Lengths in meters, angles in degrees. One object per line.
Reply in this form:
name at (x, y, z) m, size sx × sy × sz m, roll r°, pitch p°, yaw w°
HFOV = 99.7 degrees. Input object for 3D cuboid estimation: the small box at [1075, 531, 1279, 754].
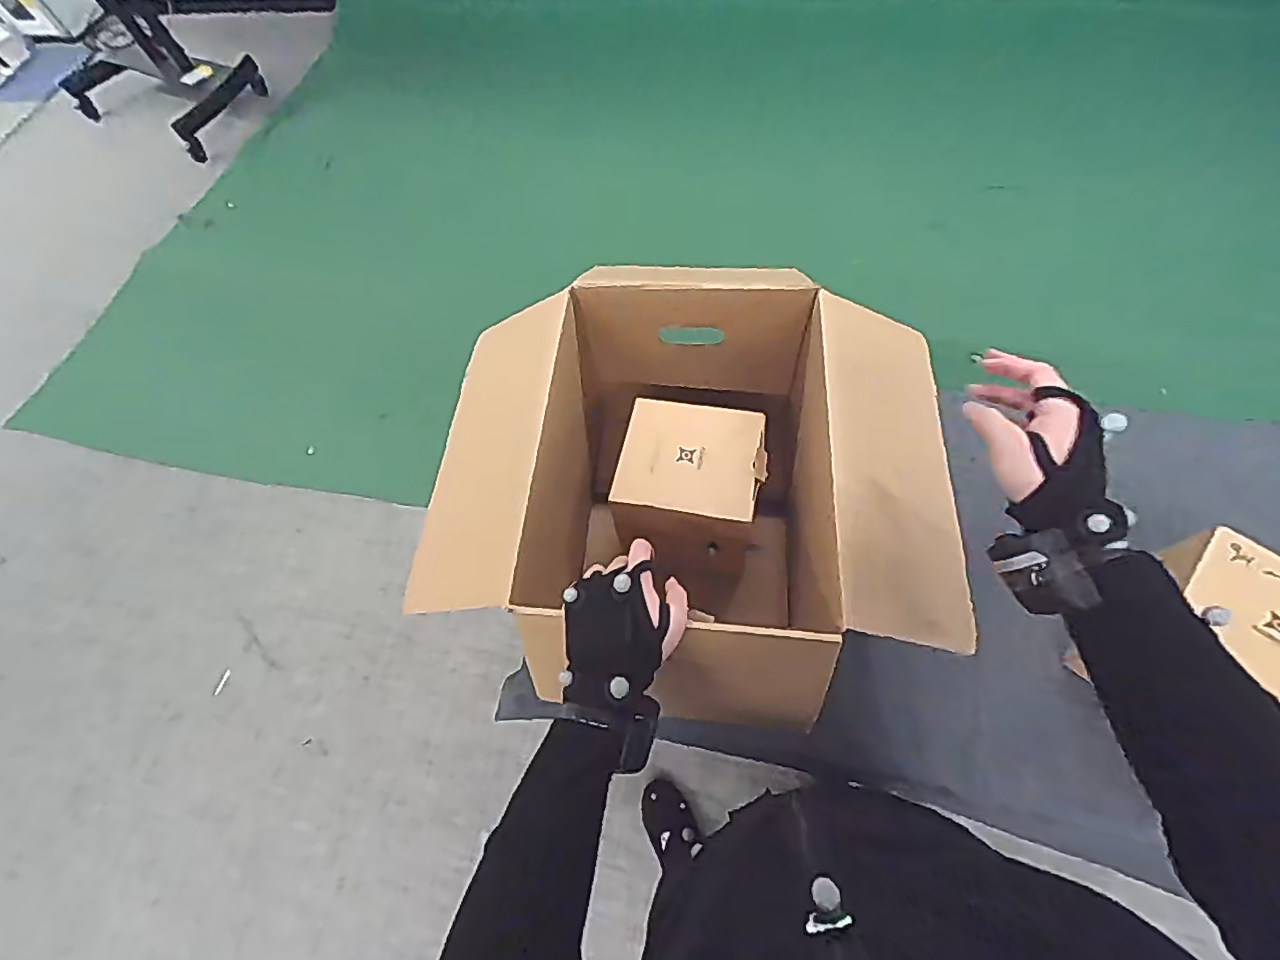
small box at (0.667, 0.198, 0.634) m, size 0.168 × 0.176 × 0.179 m, roll 40°, pitch 74°, yaw 22°
